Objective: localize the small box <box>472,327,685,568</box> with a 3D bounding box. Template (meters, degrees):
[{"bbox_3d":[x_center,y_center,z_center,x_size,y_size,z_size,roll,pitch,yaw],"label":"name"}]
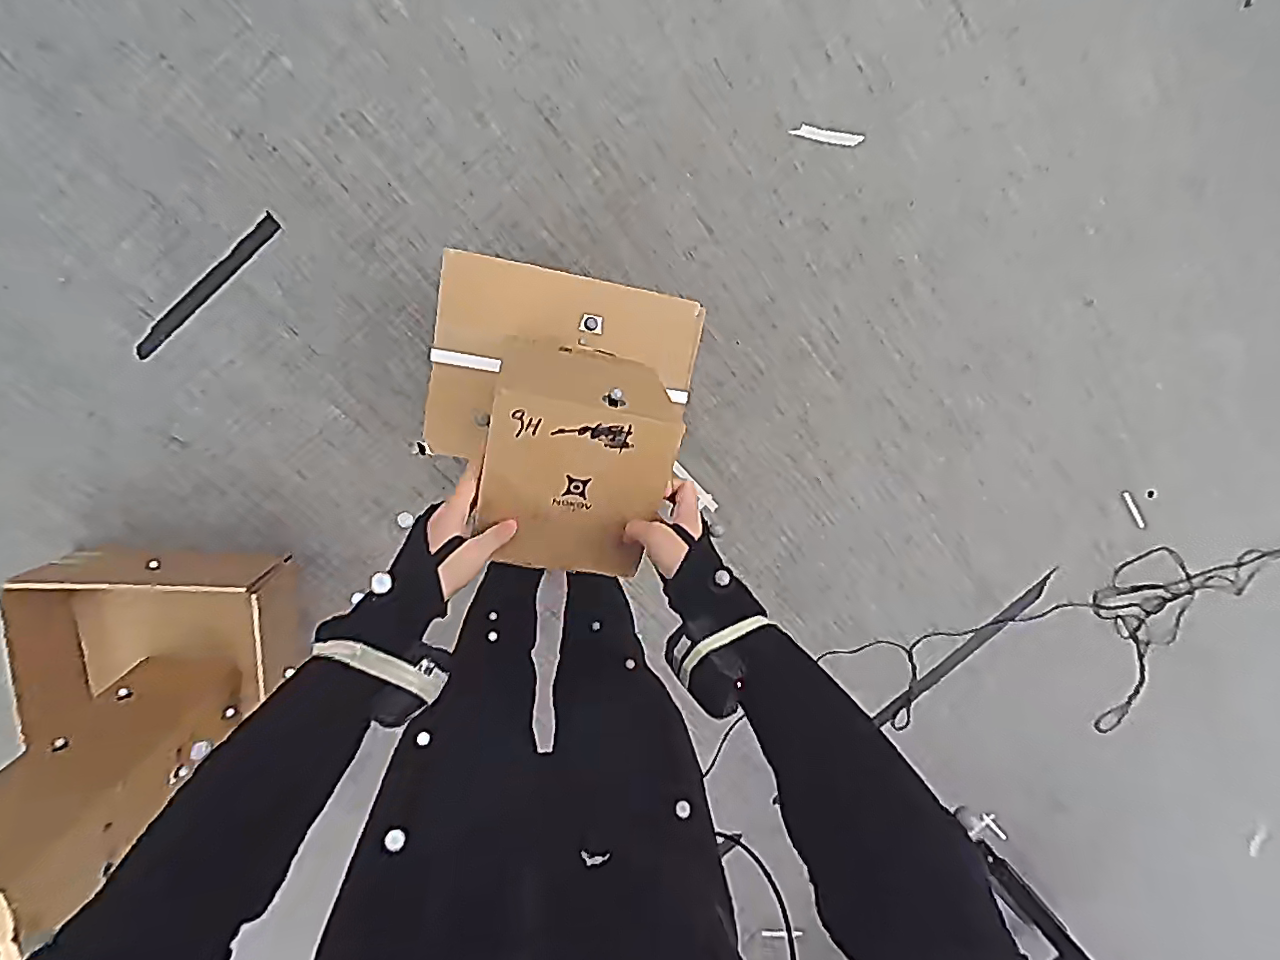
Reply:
[{"bbox_3d":[-0.071,-0.037,0.562,0.168,0.176,0.179,10,119,-16],"label":"small box"}]

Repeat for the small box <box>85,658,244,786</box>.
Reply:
[{"bbox_3d":[-0.919,0.468,1.061,0.179,0.176,0.168,6,104,-12],"label":"small box"}]
